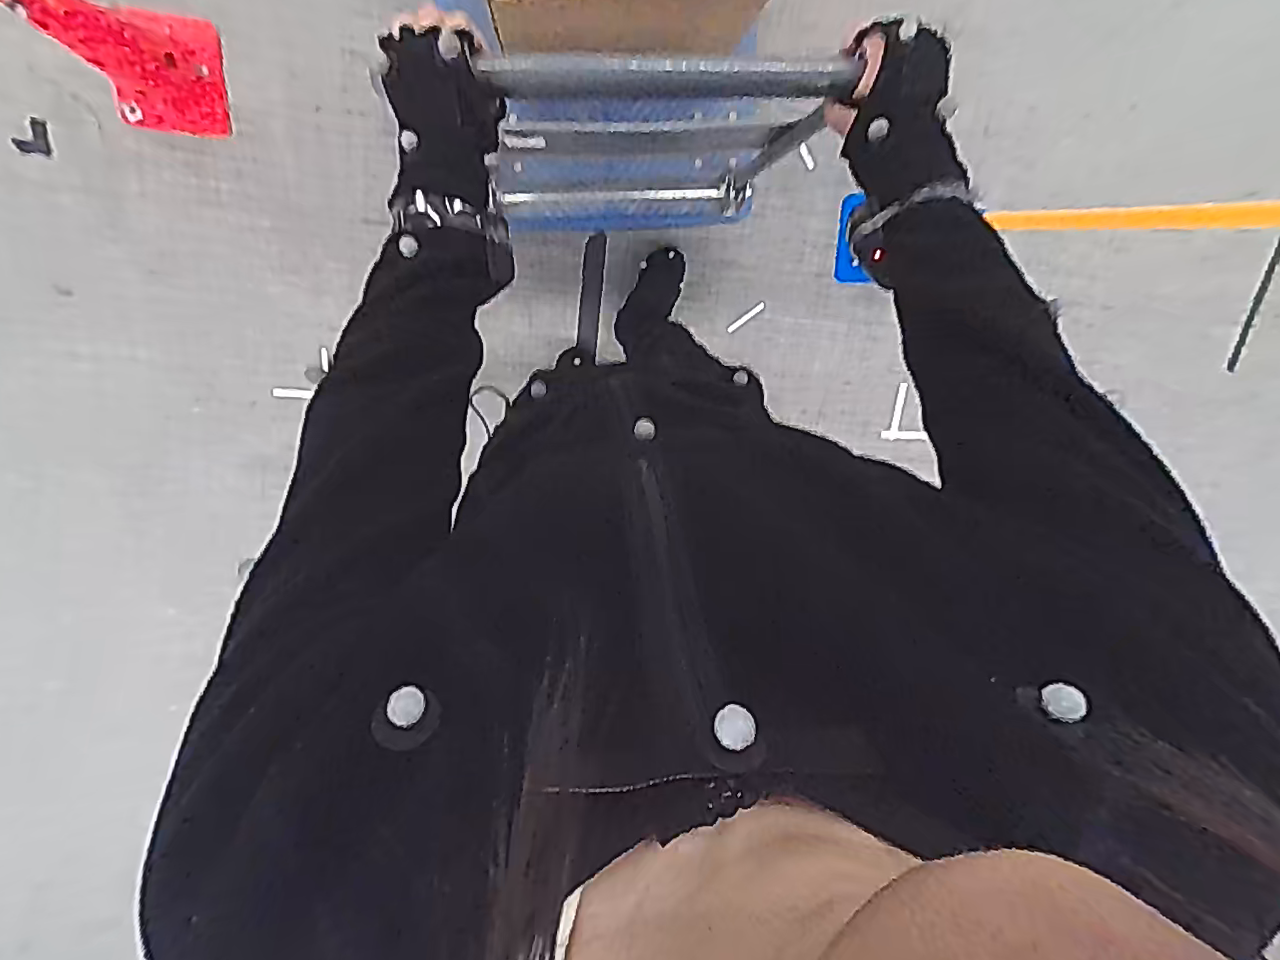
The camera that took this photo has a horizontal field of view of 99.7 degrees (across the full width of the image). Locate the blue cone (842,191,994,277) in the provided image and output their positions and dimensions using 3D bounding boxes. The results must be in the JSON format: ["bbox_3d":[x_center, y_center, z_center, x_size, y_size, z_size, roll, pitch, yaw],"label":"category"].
[{"bbox_3d":[0.611,-0.550,1.169,0.193,0.380,0.192,0,108,-7],"label":"blue cone"}]
